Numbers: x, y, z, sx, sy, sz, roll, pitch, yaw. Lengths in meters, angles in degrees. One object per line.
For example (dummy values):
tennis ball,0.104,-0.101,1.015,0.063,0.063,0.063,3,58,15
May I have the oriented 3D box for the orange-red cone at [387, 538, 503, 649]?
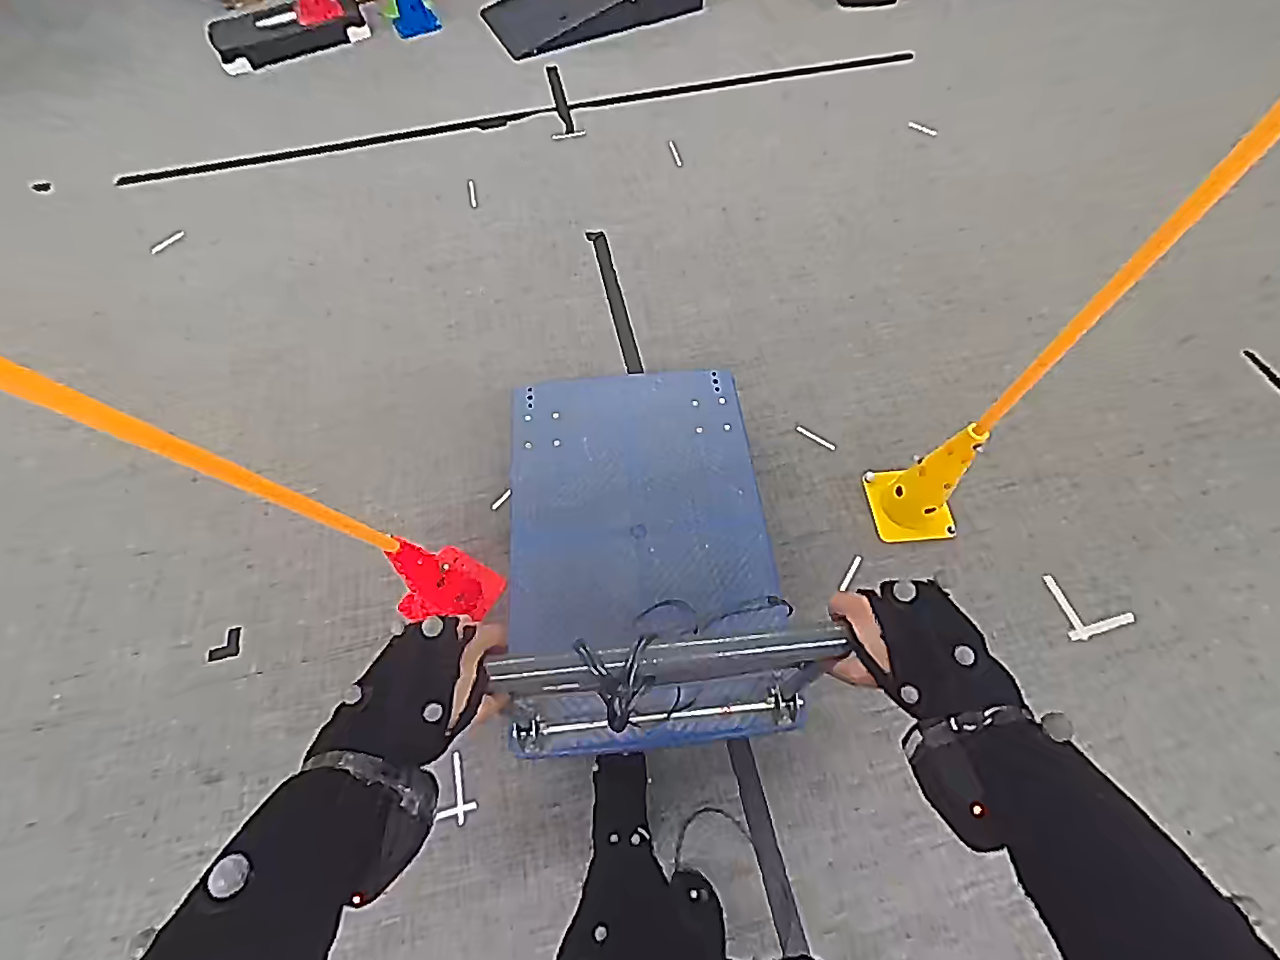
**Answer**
orange-red cone,-0.458,0.205,1.167,0.198,0.360,0.199,29,65,14
